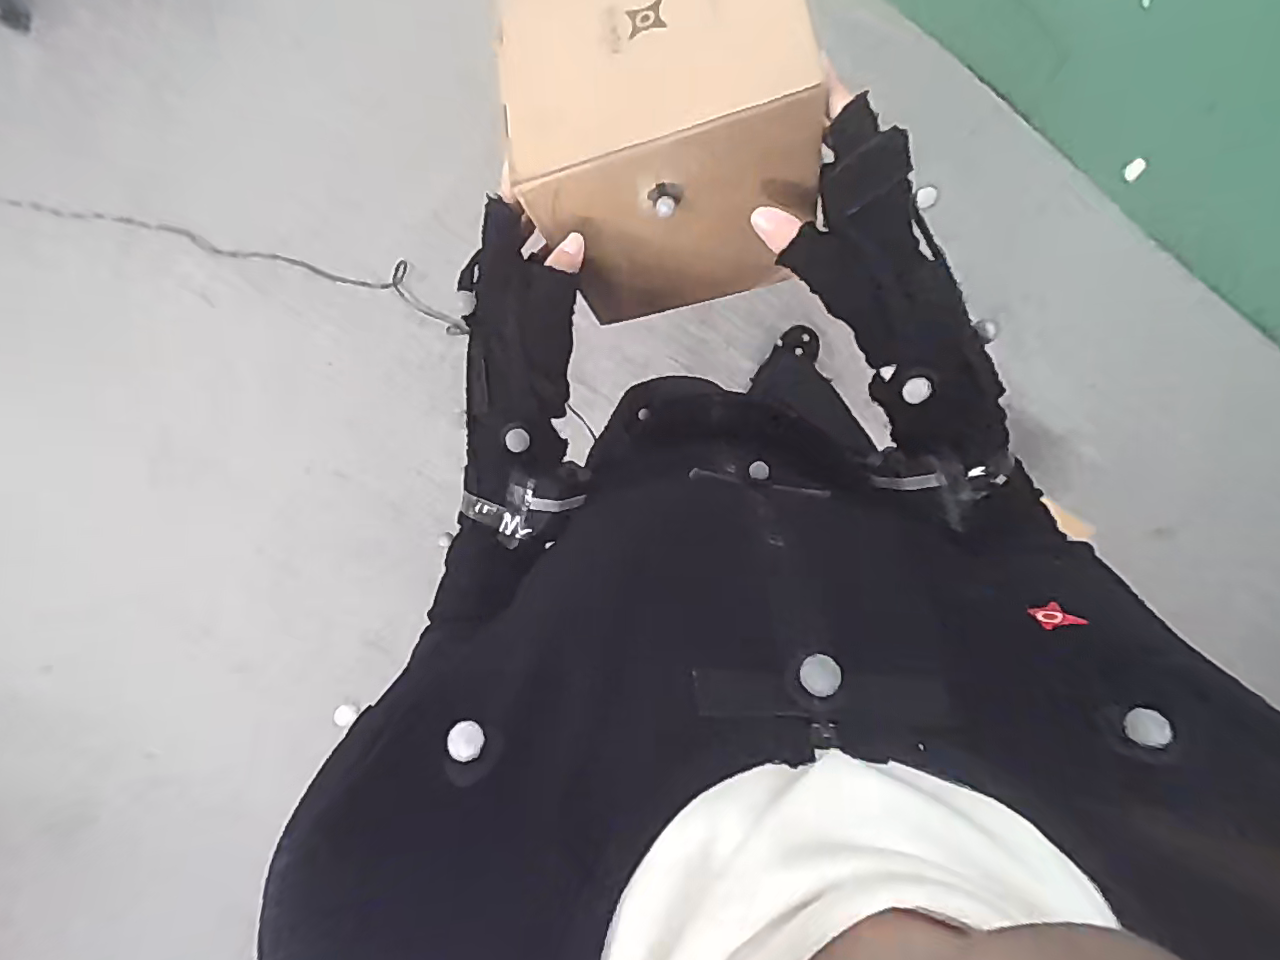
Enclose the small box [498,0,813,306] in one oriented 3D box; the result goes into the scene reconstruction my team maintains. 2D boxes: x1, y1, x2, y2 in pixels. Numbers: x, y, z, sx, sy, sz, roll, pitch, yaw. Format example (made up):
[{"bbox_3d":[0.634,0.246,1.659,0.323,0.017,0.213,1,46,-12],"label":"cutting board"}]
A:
[{"bbox_3d":[0.018,-0.250,0.388,0.179,0.176,0.168,-10,75,12],"label":"small box"}]
